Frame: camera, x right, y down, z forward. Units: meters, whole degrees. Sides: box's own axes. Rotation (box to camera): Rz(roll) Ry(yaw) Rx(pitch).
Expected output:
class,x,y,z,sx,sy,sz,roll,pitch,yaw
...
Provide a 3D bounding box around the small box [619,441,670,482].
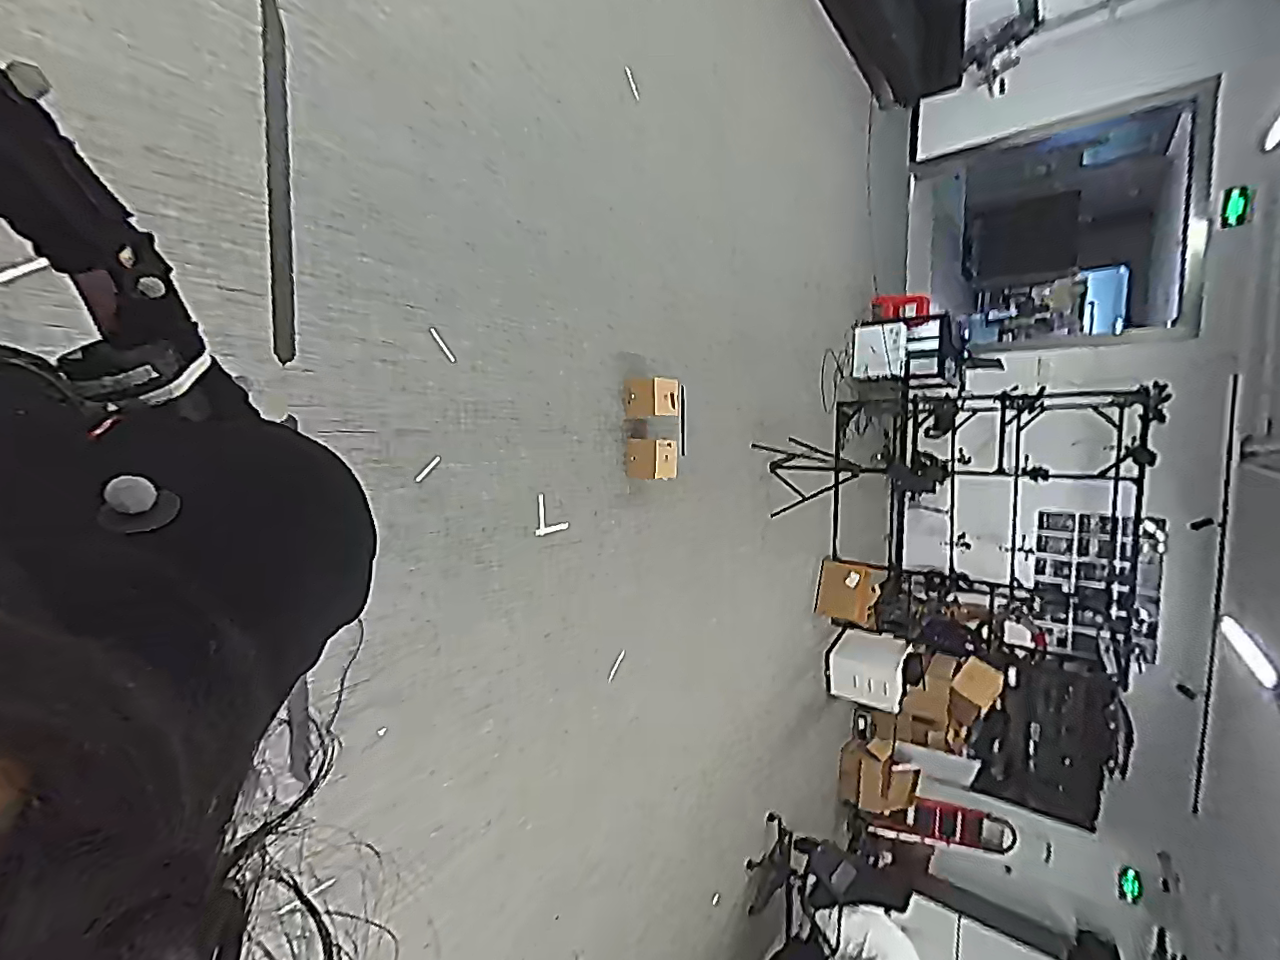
class,x,y,z,sx,sy,sz,roll,pitch,yaw
small box,0.019,-0.086,2.483,0.168,0.176,0.179,-1,95,-53

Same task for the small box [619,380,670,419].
class,x,y,z,sx,sy,sz,roll,pitch,yaw
small box,0.020,-0.362,2.460,0.179,0.176,0.168,-7,98,-52
